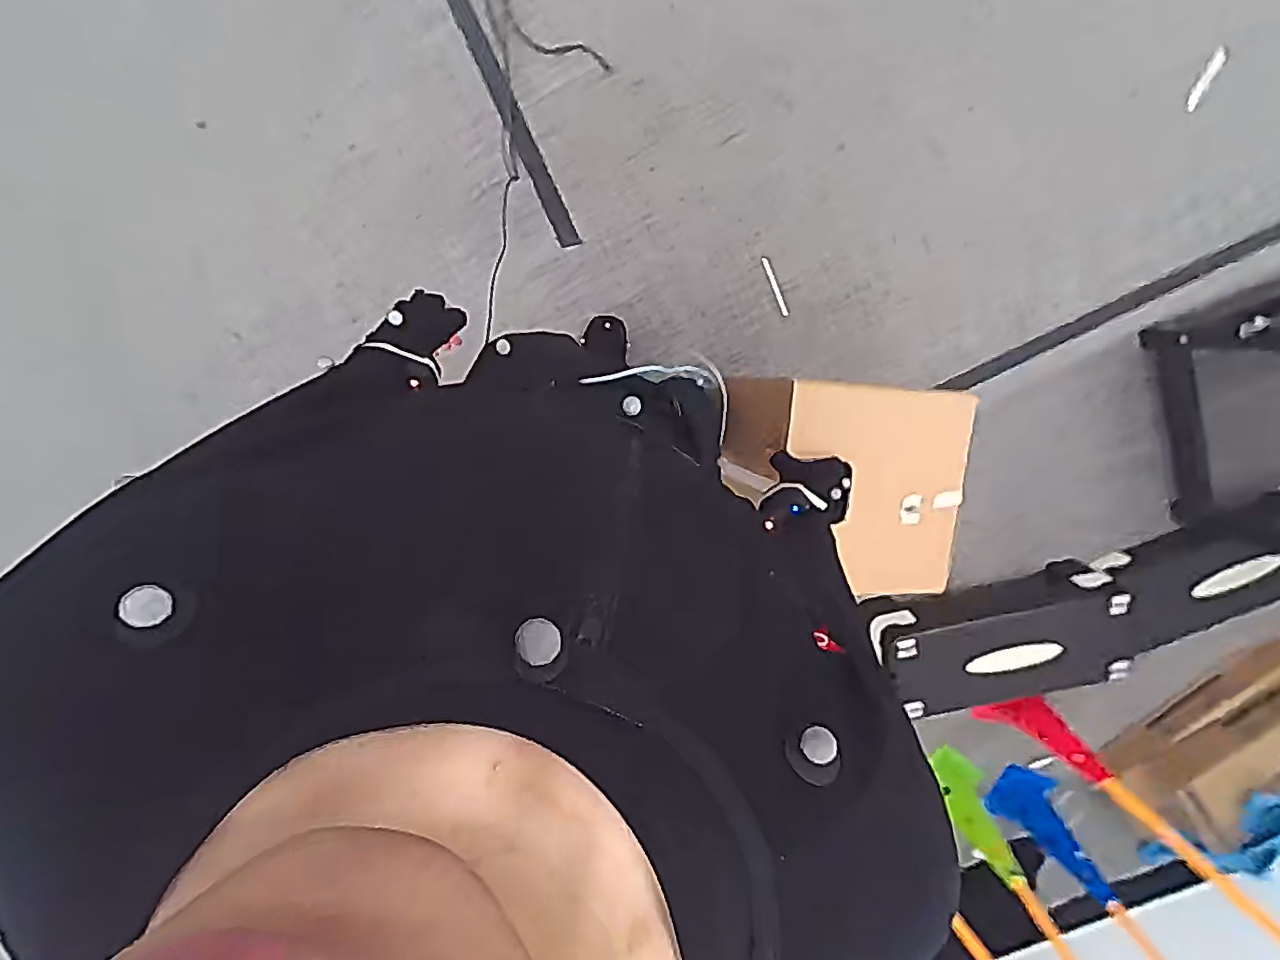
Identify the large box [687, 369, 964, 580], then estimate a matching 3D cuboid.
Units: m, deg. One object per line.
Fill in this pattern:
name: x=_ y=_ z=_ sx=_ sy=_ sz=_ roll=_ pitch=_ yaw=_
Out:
large box: x=0.299 y=-0.034 z=0.989 sx=0.320 sy=0.408 sz=0.320 roll=1 pitch=101 yaw=-13
